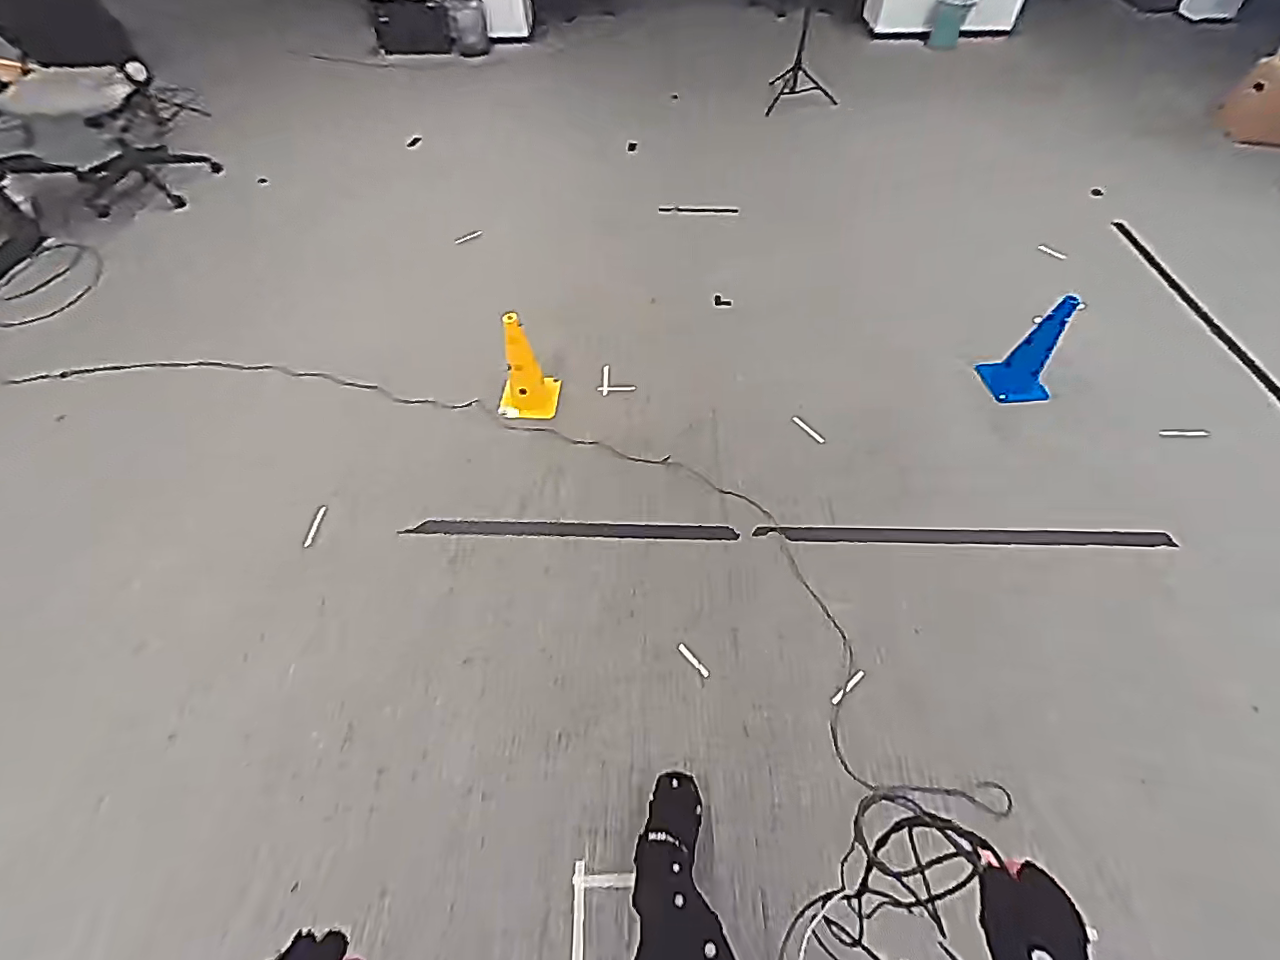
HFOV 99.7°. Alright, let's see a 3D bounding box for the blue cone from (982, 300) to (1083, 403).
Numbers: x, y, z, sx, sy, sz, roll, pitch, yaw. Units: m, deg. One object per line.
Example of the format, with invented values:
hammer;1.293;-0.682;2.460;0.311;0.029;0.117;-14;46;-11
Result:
blue cone;1.365;-0.449;1.840;0.193;0.380;0.192;-3;55;-2
